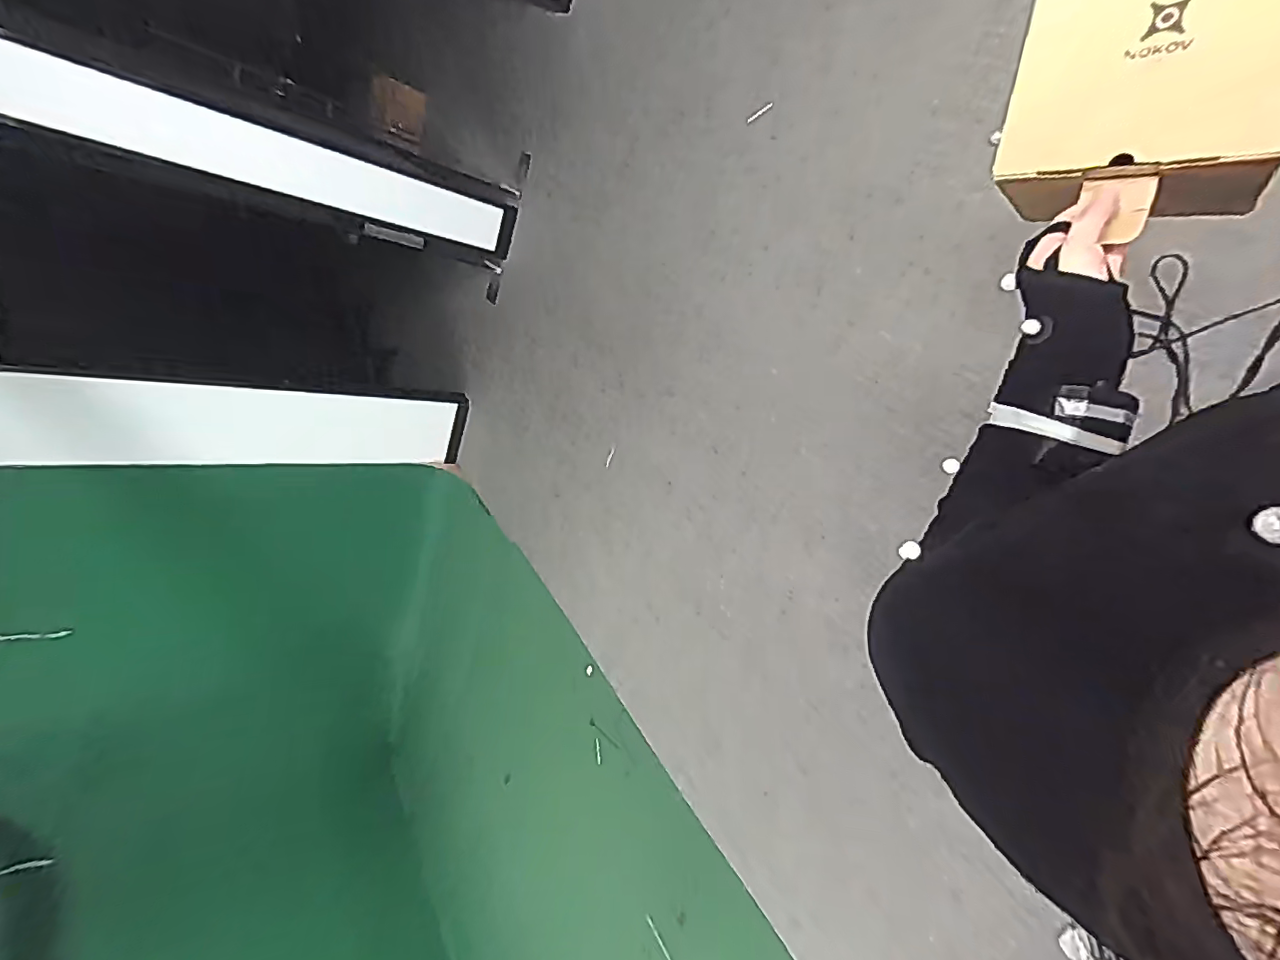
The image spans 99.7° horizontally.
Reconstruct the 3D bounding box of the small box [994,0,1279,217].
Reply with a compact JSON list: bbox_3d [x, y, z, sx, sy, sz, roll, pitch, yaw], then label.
[{"bbox_3d":[0.417,-0.325,0.437,0.168,0.176,0.179,21,113,38],"label":"small box"}]
